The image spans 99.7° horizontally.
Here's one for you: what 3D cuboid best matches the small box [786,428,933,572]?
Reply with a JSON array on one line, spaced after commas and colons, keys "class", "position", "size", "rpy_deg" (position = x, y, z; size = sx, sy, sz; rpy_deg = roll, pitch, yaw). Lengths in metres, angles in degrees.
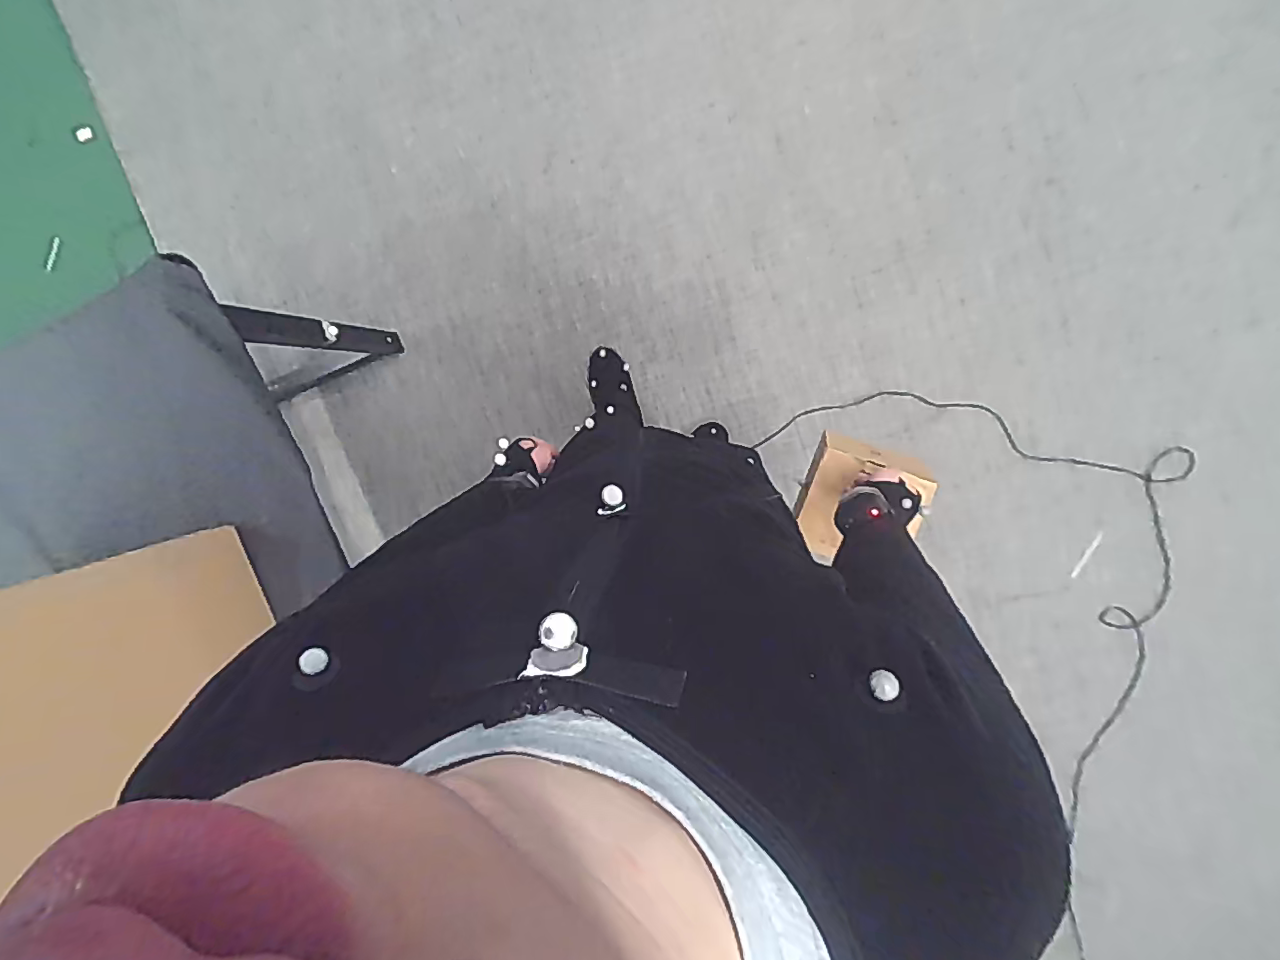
[{"class": "small box", "position": [0.351, 0.029, 0.895], "size": [0.168, 0.179, 0.176], "rpy_deg": [21, 108, 12]}]
